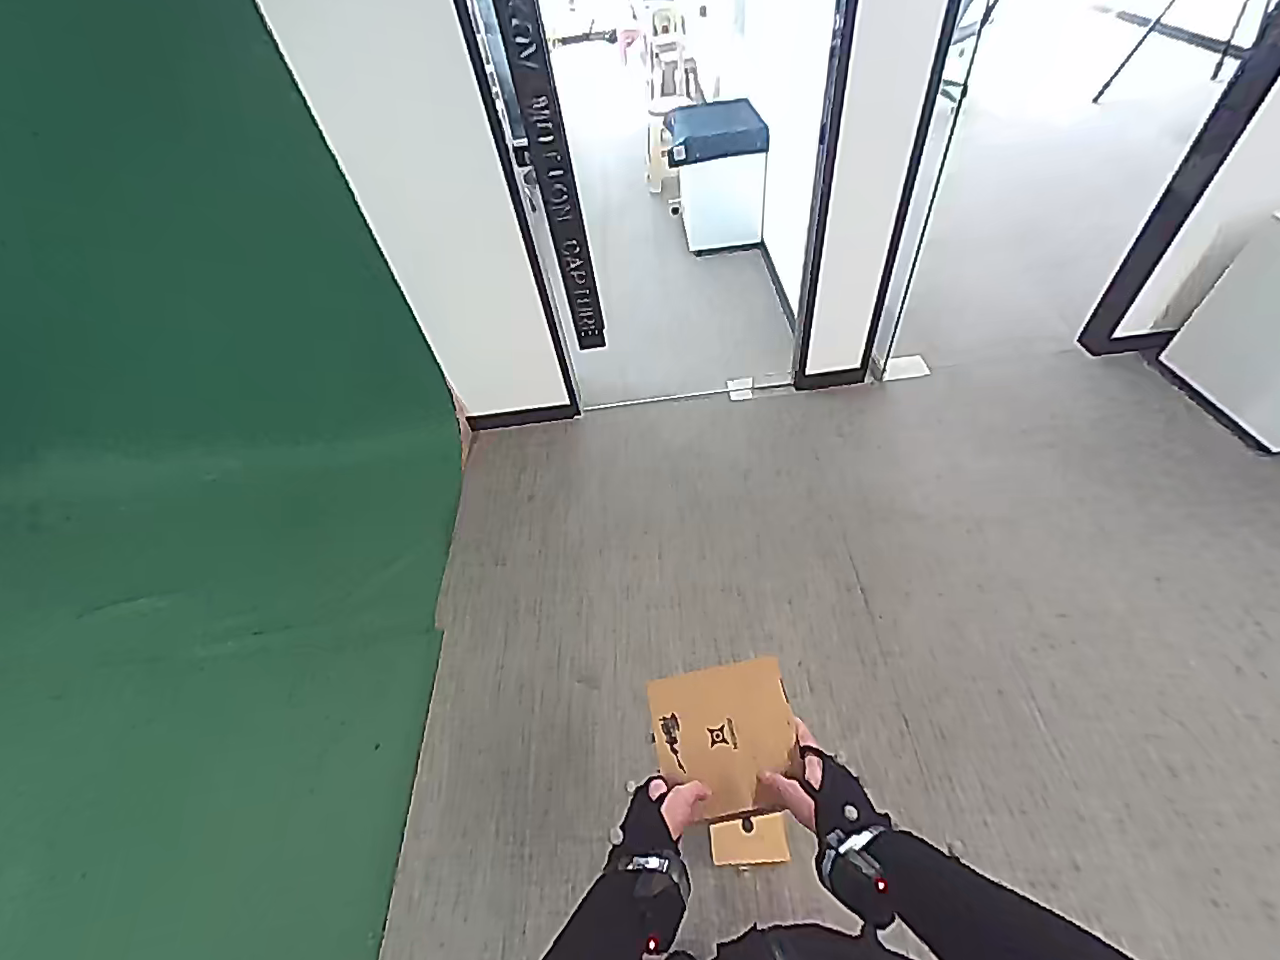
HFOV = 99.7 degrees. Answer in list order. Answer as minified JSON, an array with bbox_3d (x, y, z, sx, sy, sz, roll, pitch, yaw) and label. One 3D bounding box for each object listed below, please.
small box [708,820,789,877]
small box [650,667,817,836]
[{"bbox_3d":[0.240,0.793,1.239,0.168,0.176,0.179,-5,49,7],"label":"small box"},{"bbox_3d":[0.119,0.369,0.729,0.179,0.176,0.168,-12,54,3],"label":"small box"}]
